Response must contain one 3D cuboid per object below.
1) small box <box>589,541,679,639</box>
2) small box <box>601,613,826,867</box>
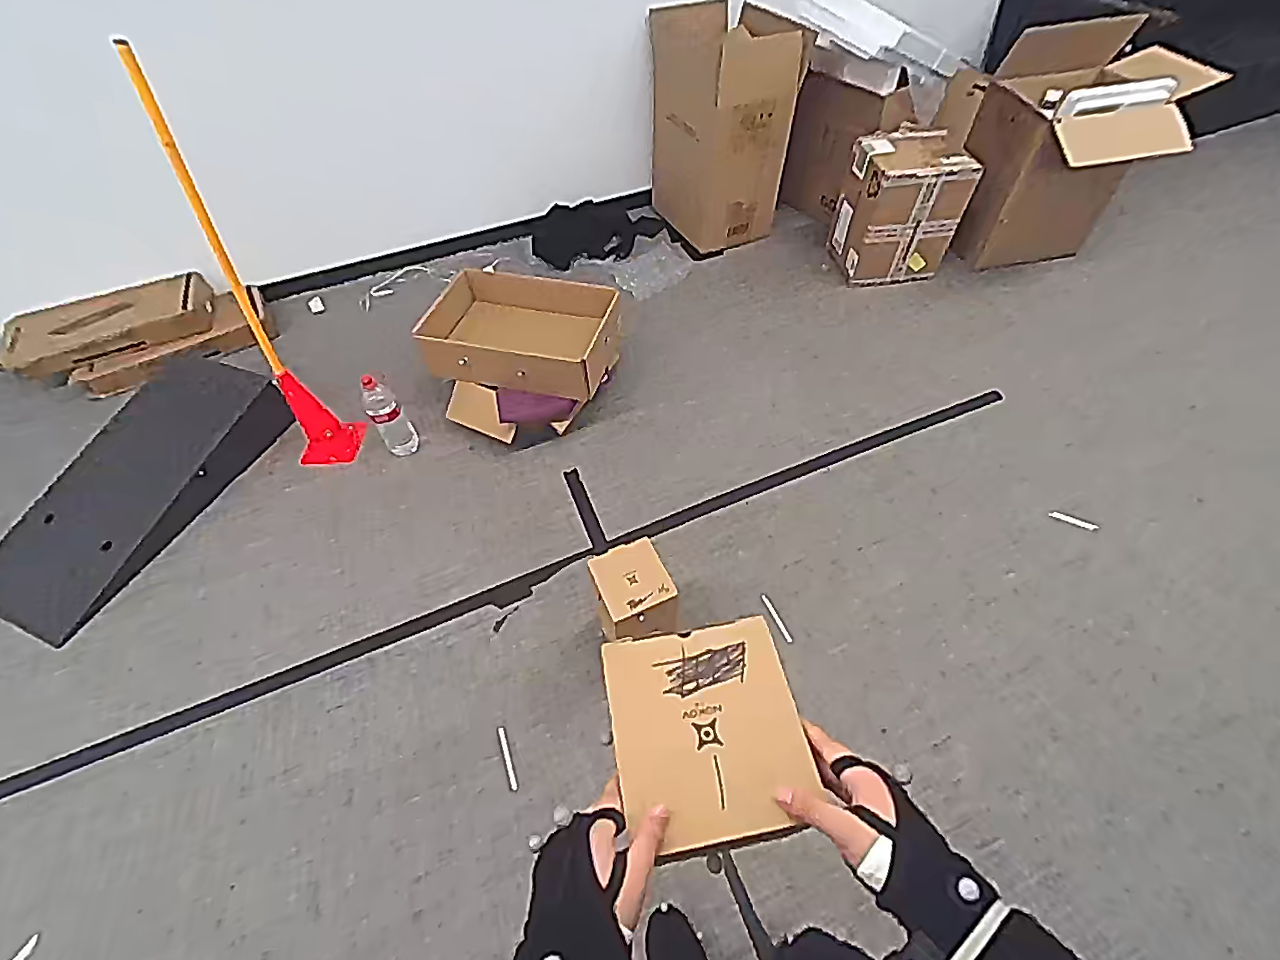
[{"bbox_3d":[-0.016,0.286,1.337,0.168,0.176,0.179,-21,53,-13],"label":"small box"},{"bbox_3d":[0.057,0.260,0.540,0.168,0.176,0.179,-10,52,-6],"label":"small box"}]
